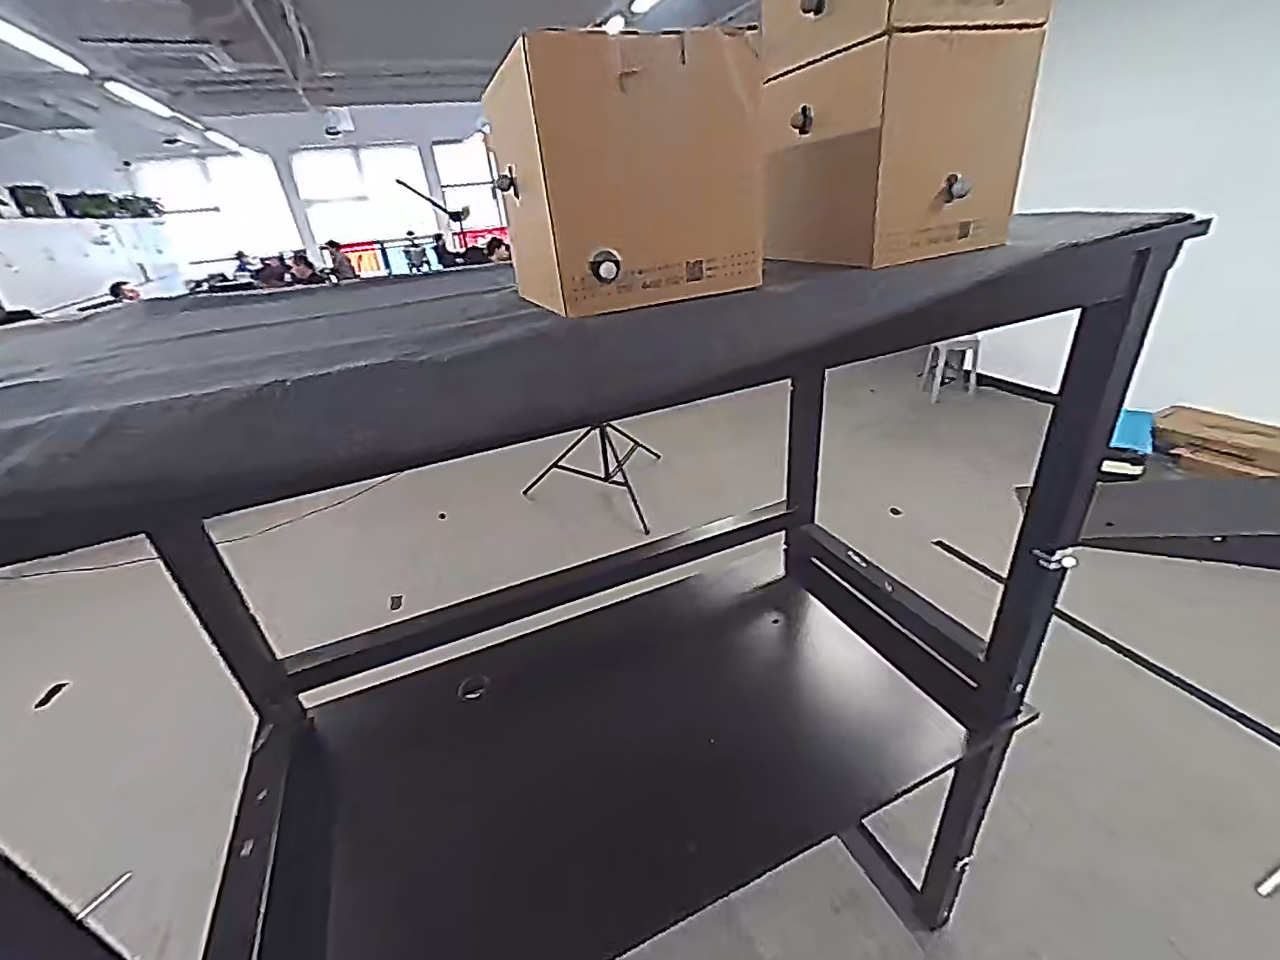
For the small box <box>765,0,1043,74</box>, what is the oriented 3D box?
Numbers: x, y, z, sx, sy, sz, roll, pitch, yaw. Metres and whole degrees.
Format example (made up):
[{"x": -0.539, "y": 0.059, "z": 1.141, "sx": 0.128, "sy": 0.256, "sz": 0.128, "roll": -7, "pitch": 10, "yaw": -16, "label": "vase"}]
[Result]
[{"x": 0.219, "y": -0.459, "z": 0.451, "sx": 0.168, "sy": 0.176, "sz": 0.179, "roll": -15, "pitch": 29, "yaw": -16, "label": "small box"}]

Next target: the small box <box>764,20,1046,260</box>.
[{"x": 0.235, "y": -0.313, "z": 0.525, "sx": 0.168, "sy": 0.176, "sz": 0.179, "roll": -16, "pitch": 29, "yaw": -16, "label": "small box"}]

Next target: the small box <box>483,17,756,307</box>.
[{"x": -0.017, "y": -0.242, "z": 0.441, "sx": 0.168, "sy": 0.176, "sz": 0.179, "roll": -16, "pitch": 27, "yaw": -18, "label": "small box"}]
